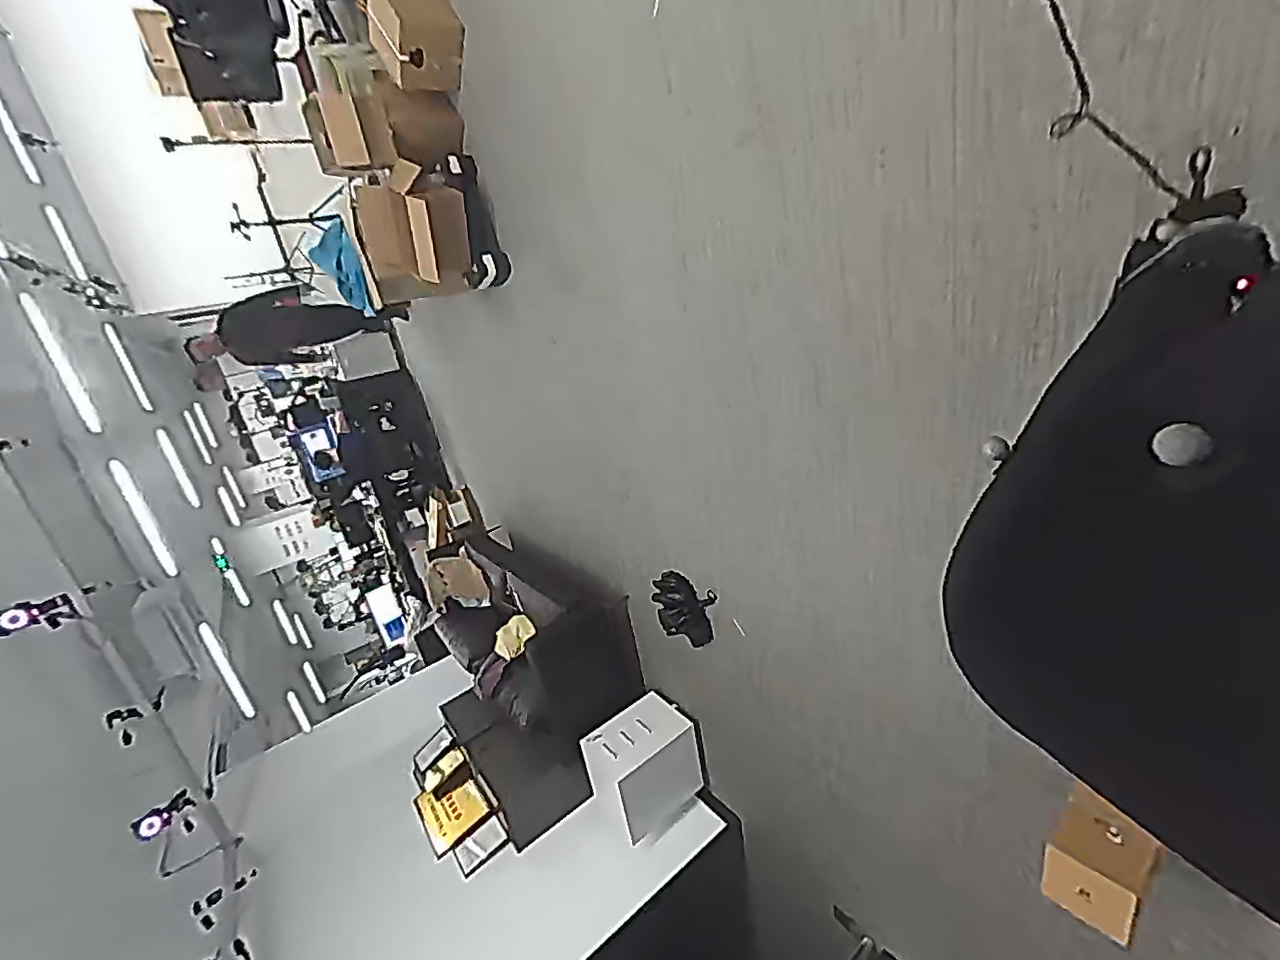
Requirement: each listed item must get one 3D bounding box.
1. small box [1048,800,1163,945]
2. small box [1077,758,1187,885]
[{"bbox_3d":[1.094,0.912,1.272,0.168,0.176,0.179,14,120,51],"label":"small box"},{"bbox_3d":[1.233,0.845,1.361,0.179,0.176,0.168,17,123,52],"label":"small box"}]
